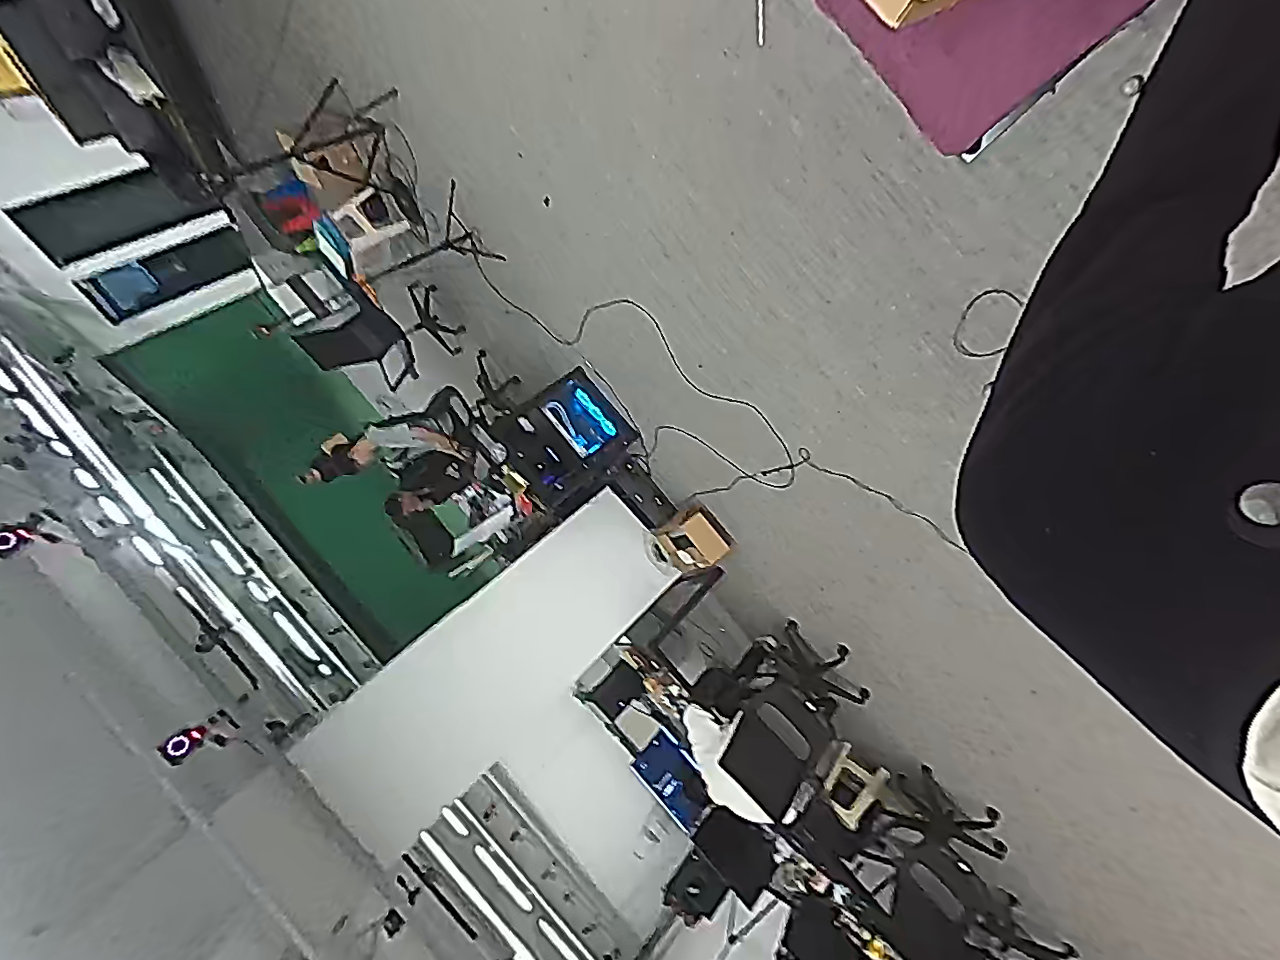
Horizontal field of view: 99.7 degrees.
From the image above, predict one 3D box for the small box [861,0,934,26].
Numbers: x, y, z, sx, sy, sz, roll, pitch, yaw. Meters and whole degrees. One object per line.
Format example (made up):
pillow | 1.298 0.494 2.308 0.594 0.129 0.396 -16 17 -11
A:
small box | 0.289 -0.618 0.541 0.179 0.176 0.168 50 154 3
